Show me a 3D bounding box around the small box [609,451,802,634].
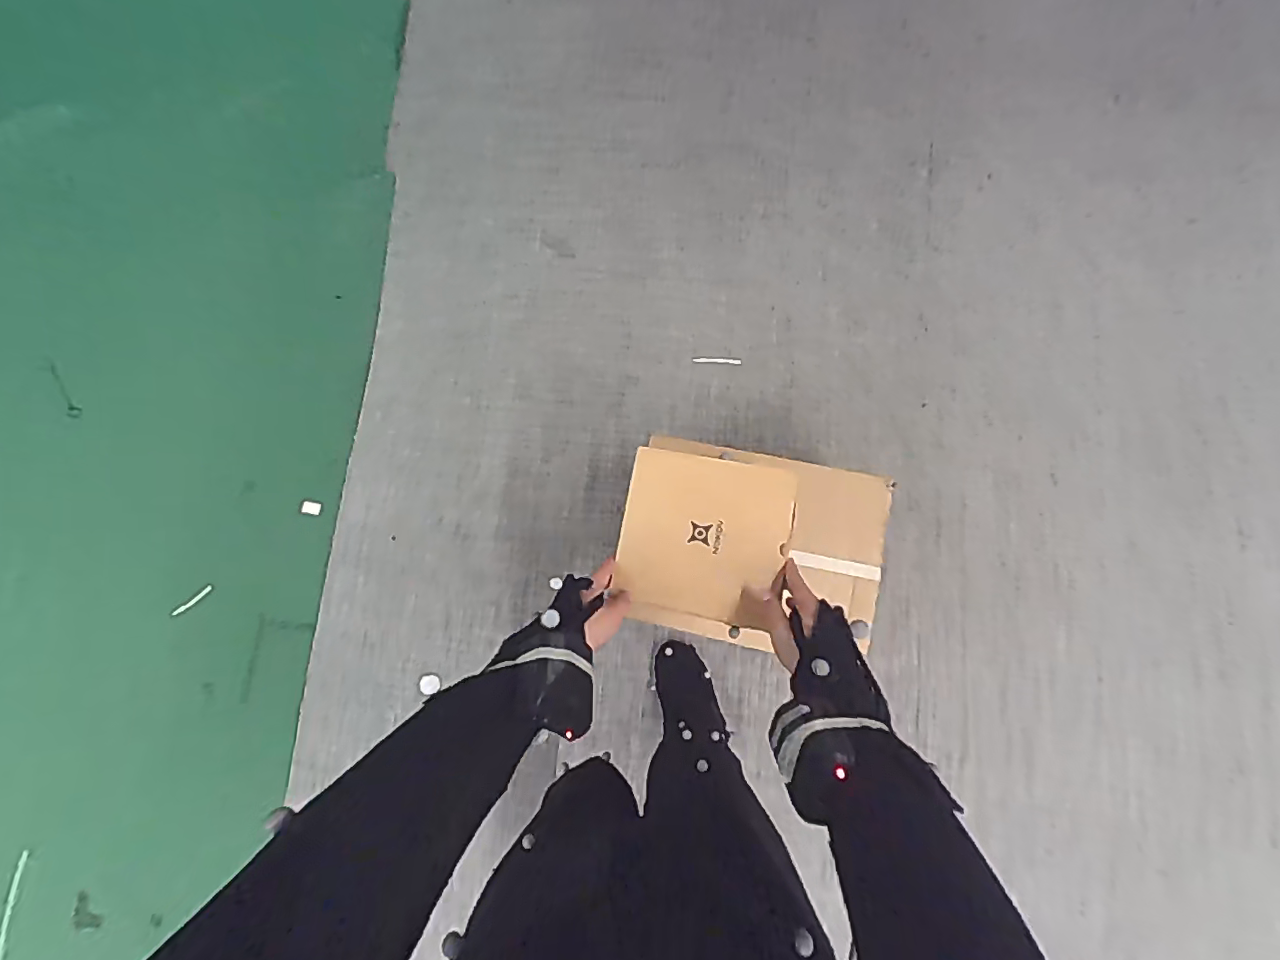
[{"bbox_3d":[0.076,0.078,0.632,0.179,0.176,0.168,10,79,7],"label":"small box"}]

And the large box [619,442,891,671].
[{"bbox_3d":[0.199,0.138,1.023,0.408,0.320,0.320,11,83,8],"label":"large box"}]
